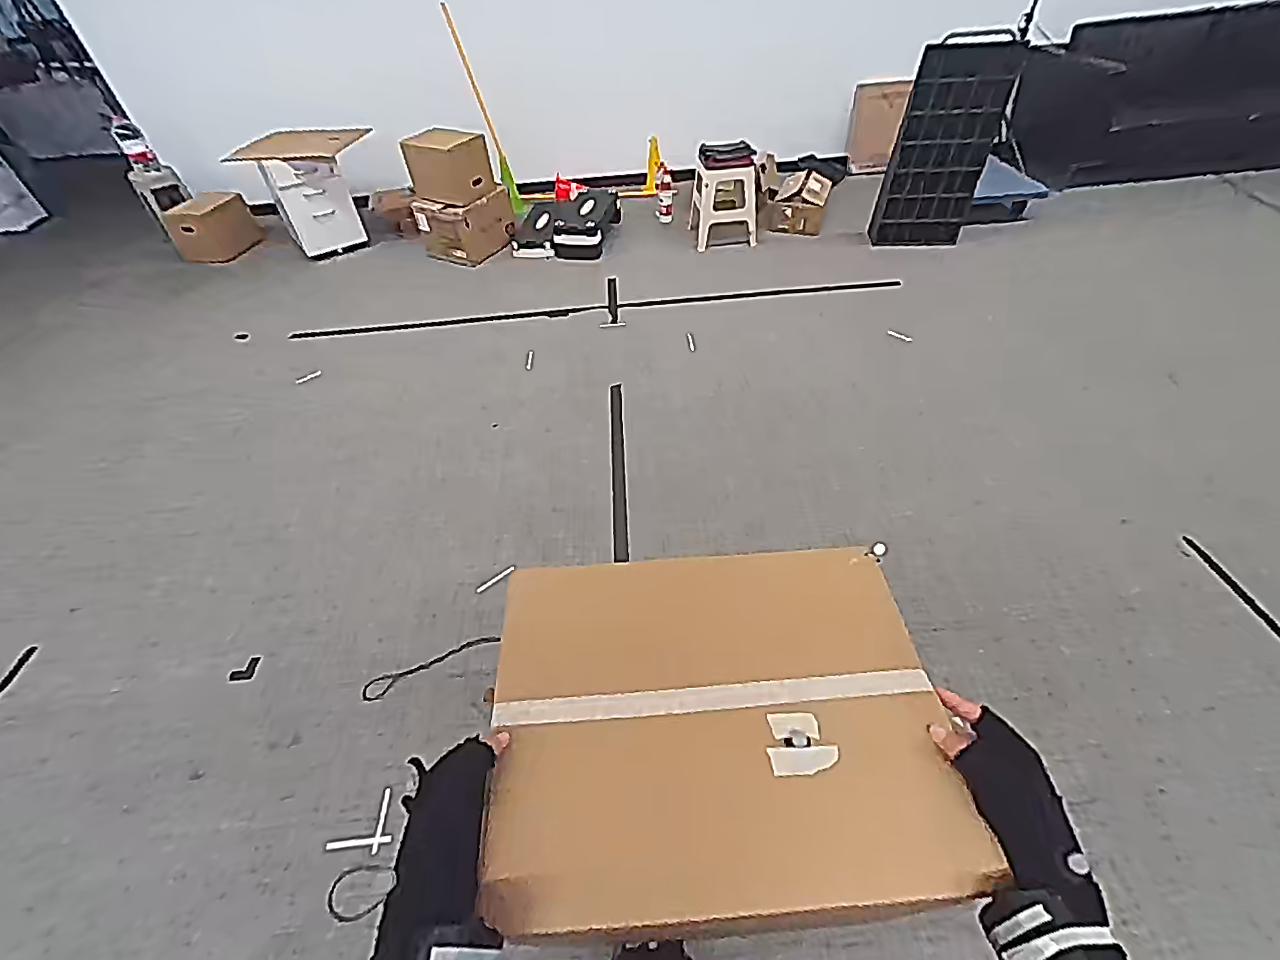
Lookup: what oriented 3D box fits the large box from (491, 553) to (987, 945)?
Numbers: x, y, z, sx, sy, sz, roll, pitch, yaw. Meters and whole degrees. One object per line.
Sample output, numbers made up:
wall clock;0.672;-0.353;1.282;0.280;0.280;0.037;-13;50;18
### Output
large box;0.071;0.312;0.629;0.408;0.320;0.320;-4;48;-2
